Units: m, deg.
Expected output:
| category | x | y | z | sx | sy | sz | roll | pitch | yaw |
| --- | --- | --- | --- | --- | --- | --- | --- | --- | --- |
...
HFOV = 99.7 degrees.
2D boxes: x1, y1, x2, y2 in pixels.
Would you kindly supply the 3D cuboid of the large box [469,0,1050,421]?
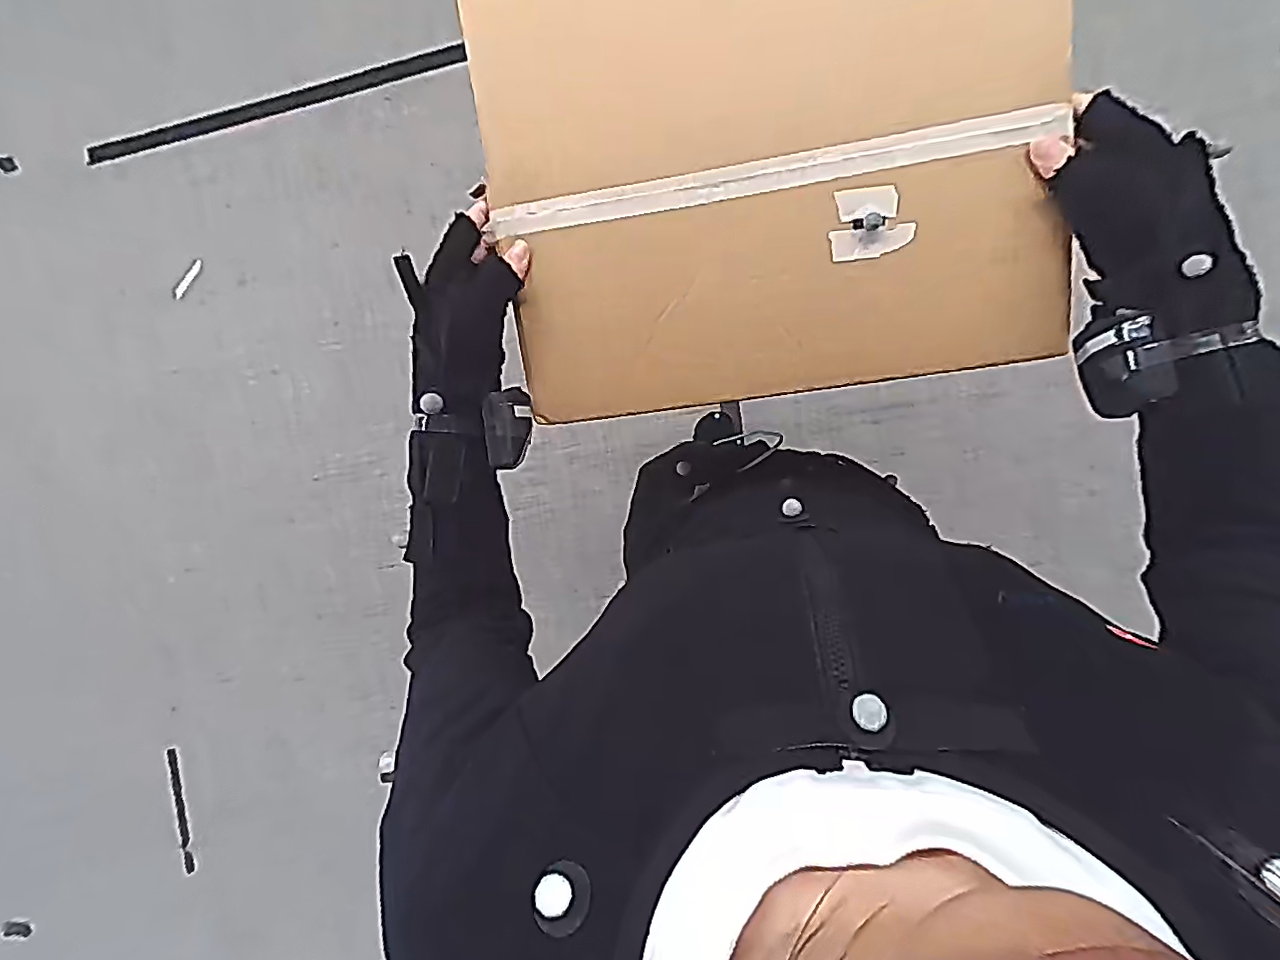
| category | x | y | z | sx | sy | sz | roll | pitch | yaw |
| --- | --- | --- | --- | --- | --- | --- | --- | --- | --- |
| large box | 0.101 | -0.255 | 0.546 | 0.408 | 0.320 | 0.320 | -8 | 102 | 5 |
